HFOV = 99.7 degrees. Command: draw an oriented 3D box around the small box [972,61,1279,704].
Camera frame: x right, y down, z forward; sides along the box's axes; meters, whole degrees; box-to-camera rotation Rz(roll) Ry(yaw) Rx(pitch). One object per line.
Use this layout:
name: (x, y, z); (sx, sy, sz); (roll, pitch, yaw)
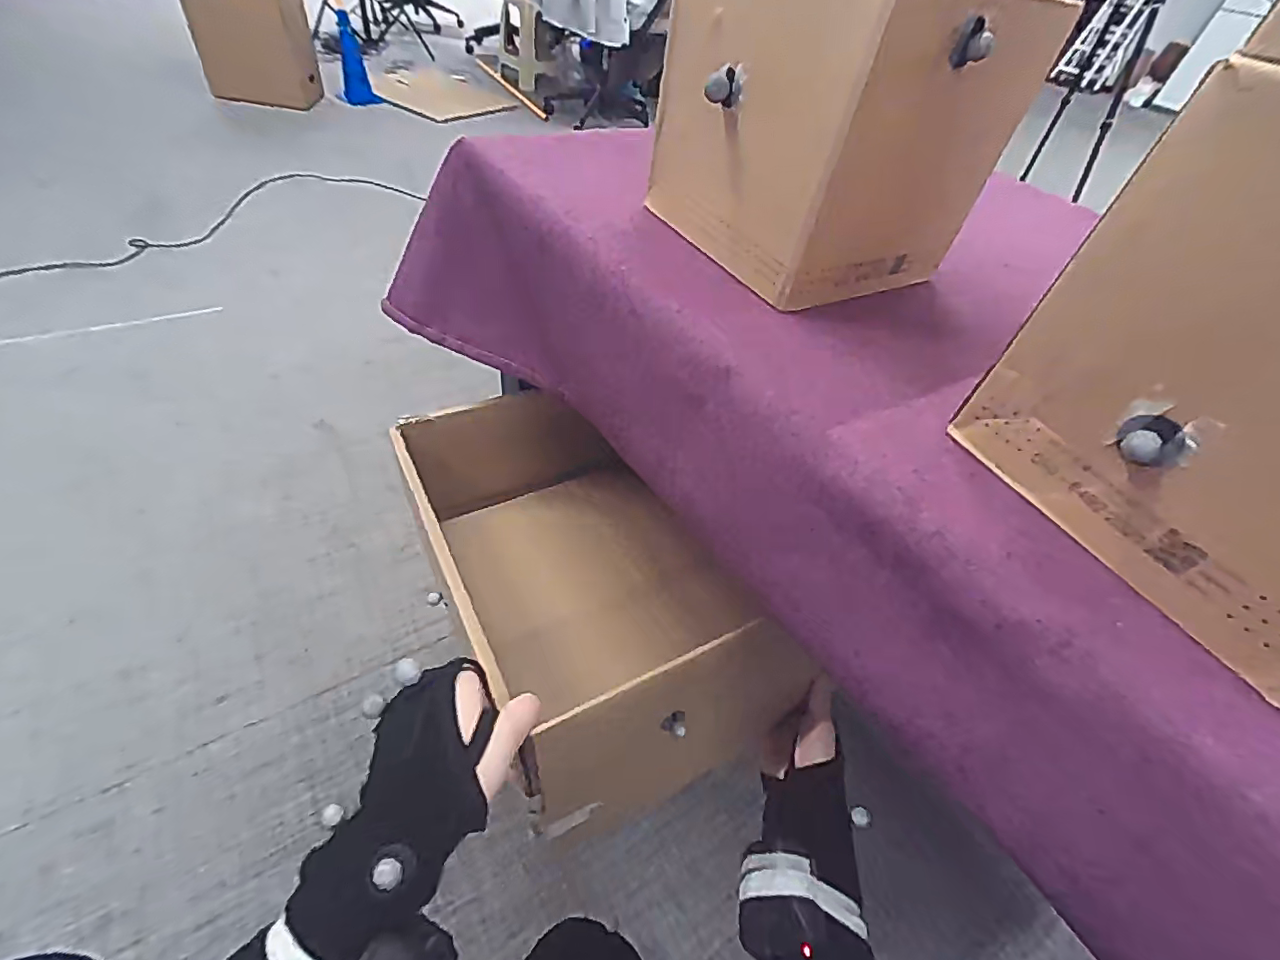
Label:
small box: (0.288, -0.042, 0.220); (0.179, 0.176, 0.168); (-16, 52, -23)

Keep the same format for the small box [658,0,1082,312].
small box: (0.128, -0.241, 0.374); (0.168, 0.176, 0.179); (-20, 53, -26)
